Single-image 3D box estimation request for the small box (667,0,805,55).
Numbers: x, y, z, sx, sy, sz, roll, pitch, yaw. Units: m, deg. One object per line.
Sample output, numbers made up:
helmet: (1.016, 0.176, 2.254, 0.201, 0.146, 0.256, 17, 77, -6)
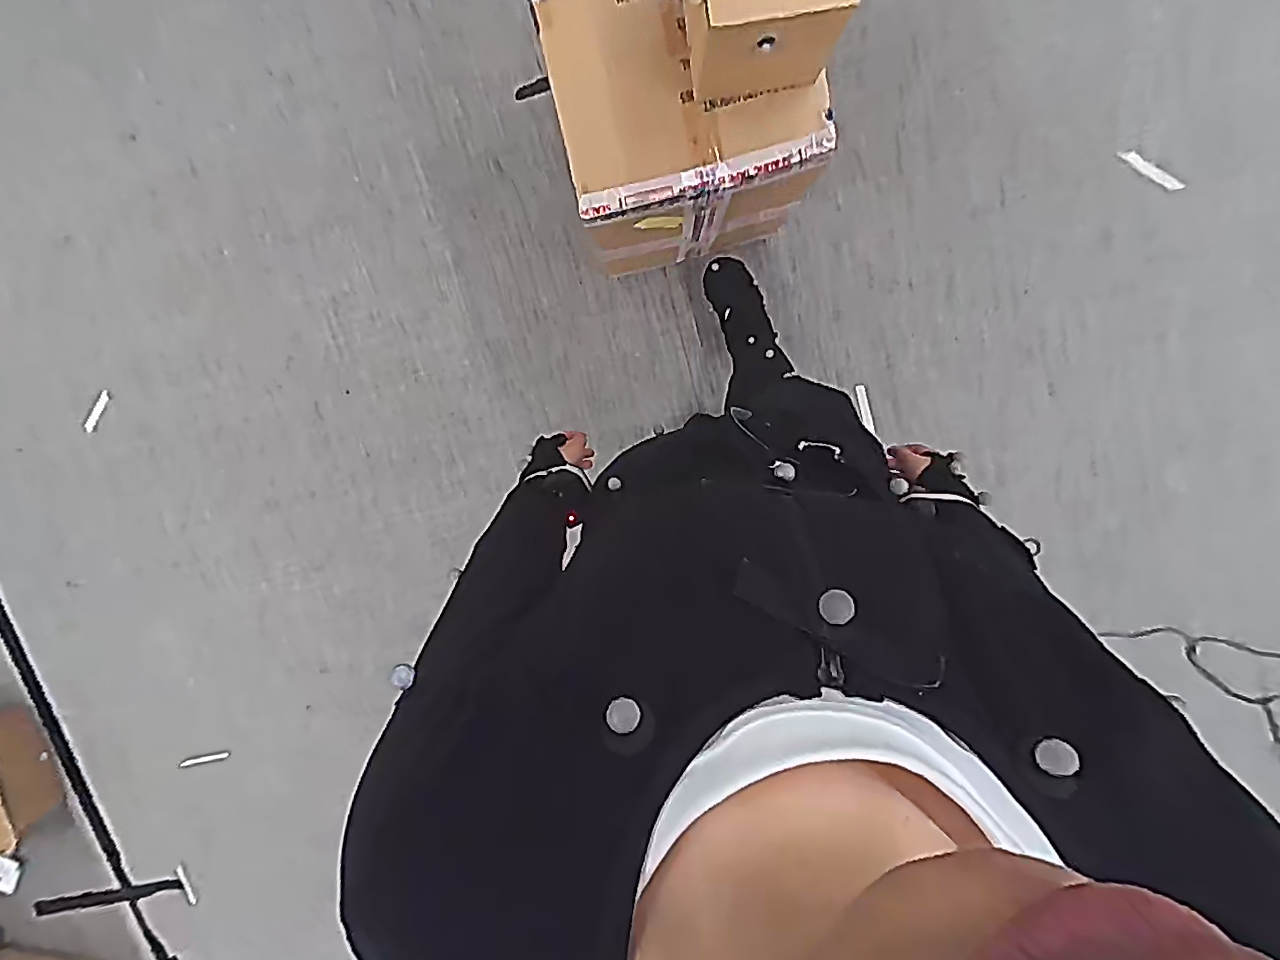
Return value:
small box: (0.115, -0.662, 0.654, 0.179, 0.176, 0.168, -12, 101, 2)
